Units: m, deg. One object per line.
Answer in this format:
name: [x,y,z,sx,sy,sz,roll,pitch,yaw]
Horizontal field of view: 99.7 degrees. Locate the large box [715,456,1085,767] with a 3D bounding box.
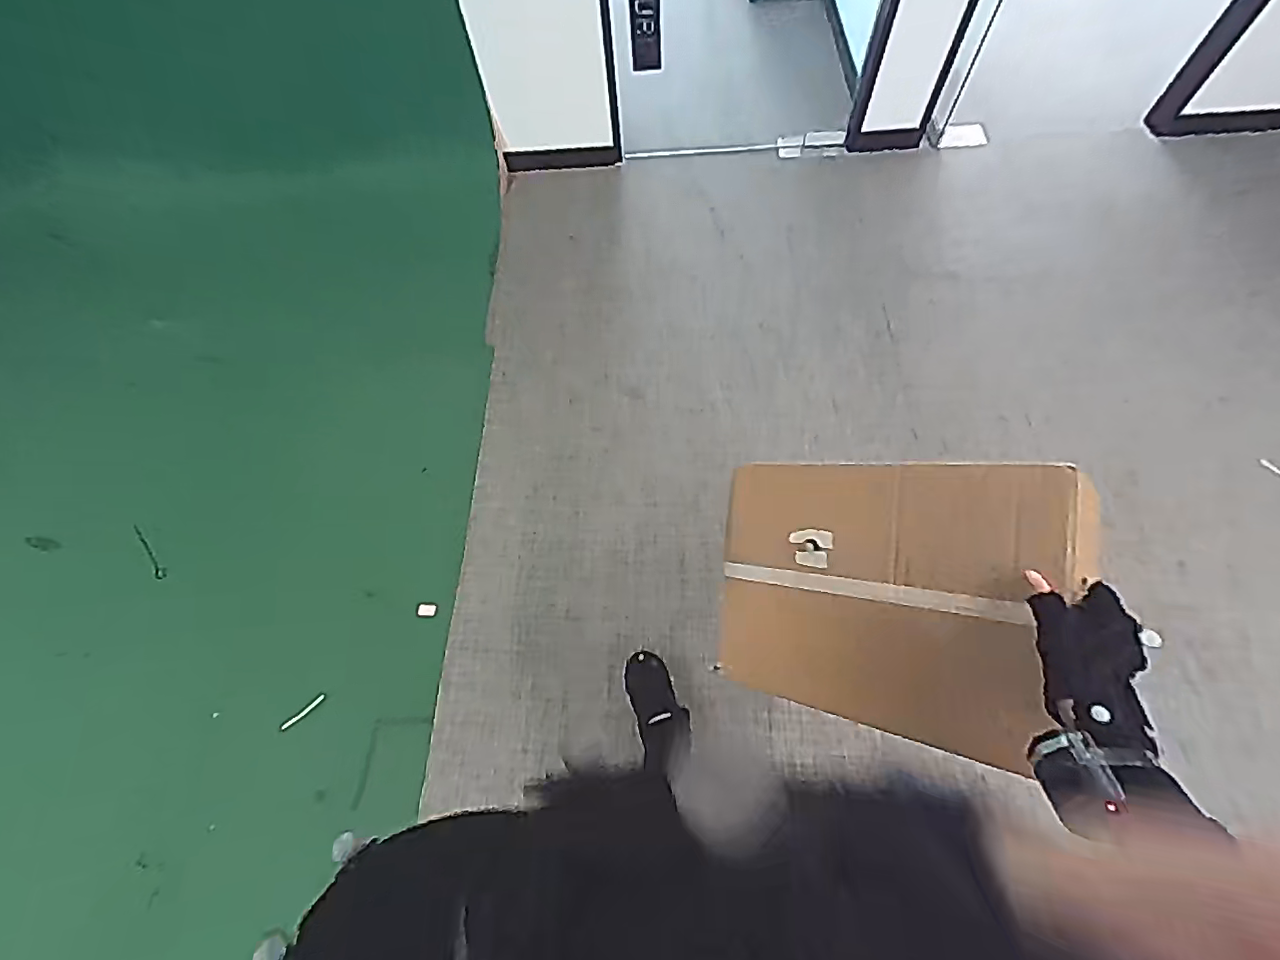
large box: [0.368,0.146,0.773,0.408,0.320,0.320,1,83,43]
